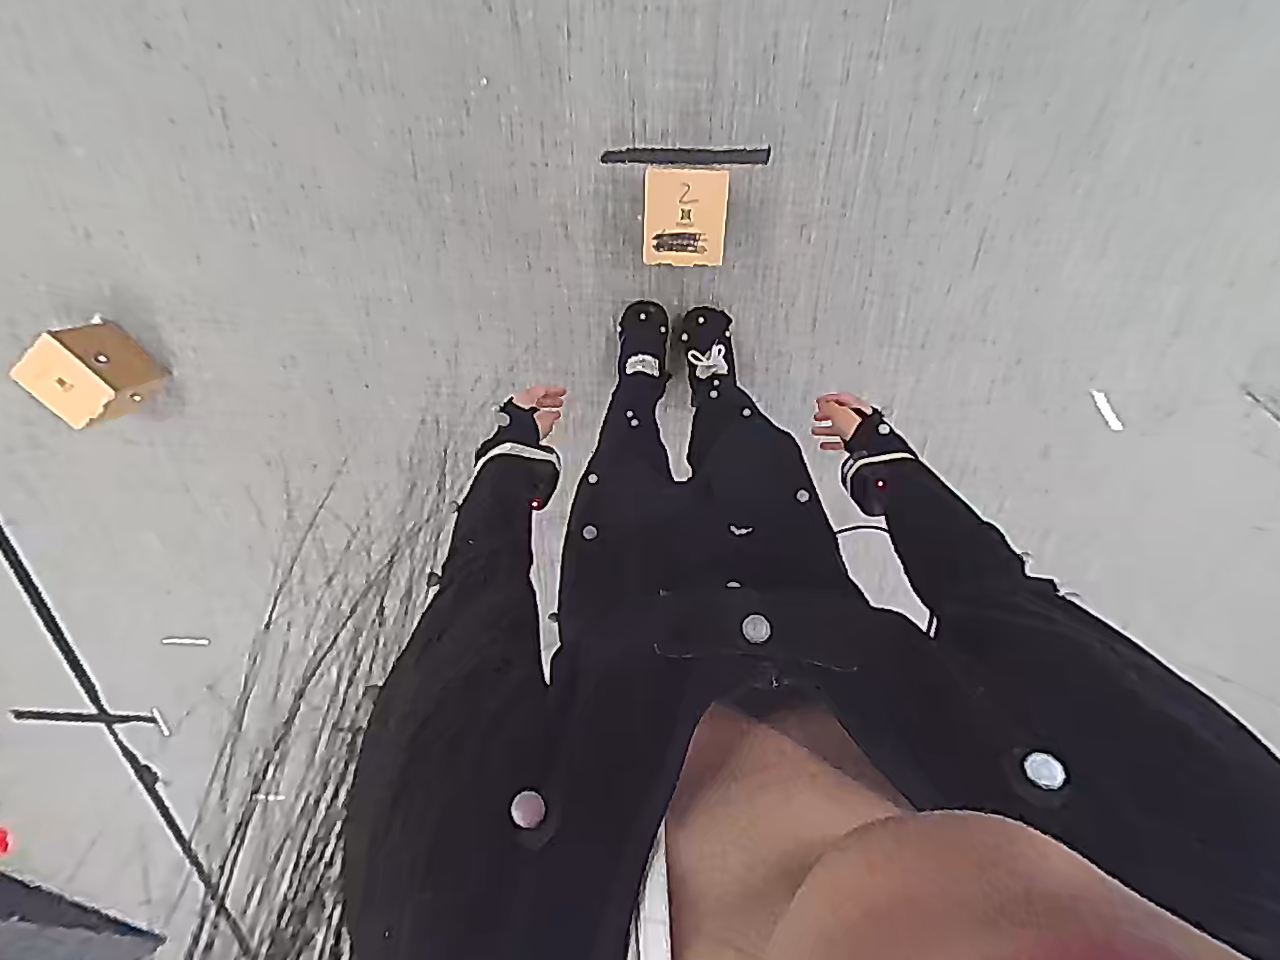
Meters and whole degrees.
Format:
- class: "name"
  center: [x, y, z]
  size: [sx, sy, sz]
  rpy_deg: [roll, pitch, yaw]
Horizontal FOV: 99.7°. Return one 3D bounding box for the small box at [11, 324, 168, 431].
- class: "small box"
  center: [-1.324, -0.256, 1.317]
  size: [0.168, 0.176, 0.179]
  rpy_deg: [-34, 110, 15]
